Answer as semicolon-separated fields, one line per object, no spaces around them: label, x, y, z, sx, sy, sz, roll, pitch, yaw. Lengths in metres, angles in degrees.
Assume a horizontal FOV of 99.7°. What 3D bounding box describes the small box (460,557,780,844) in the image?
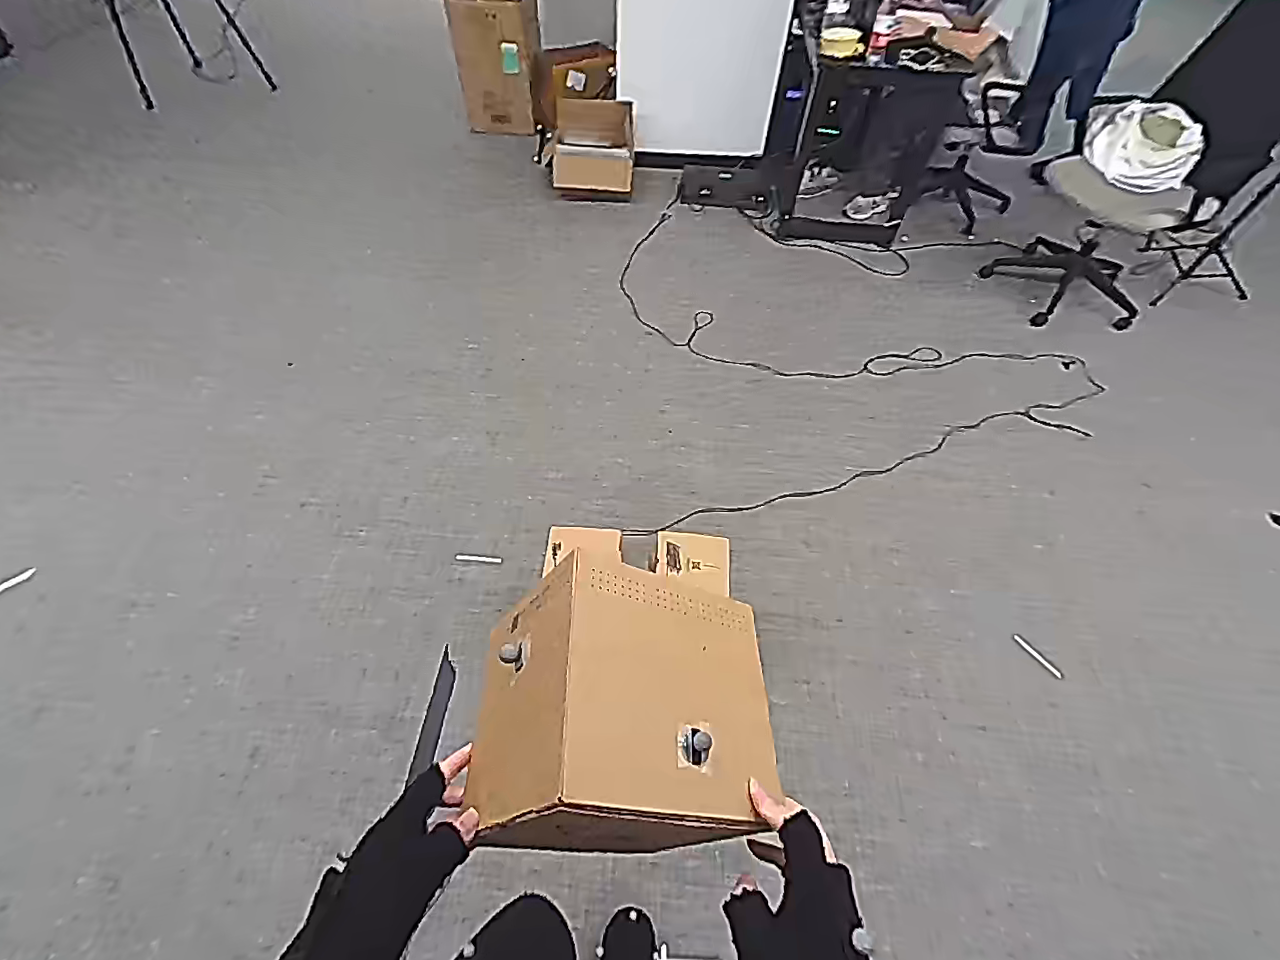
small box;-0.018;0.182;0.436;0.179;0.168;0.176;23;44;-26

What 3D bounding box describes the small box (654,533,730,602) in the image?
small box;0.119;0.251;1.332;0.179;0.176;0.168;7;55;1

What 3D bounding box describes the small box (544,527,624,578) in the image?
small box;-0.134;0.235;1.333;0.179;0.176;0.168;4;54;1
